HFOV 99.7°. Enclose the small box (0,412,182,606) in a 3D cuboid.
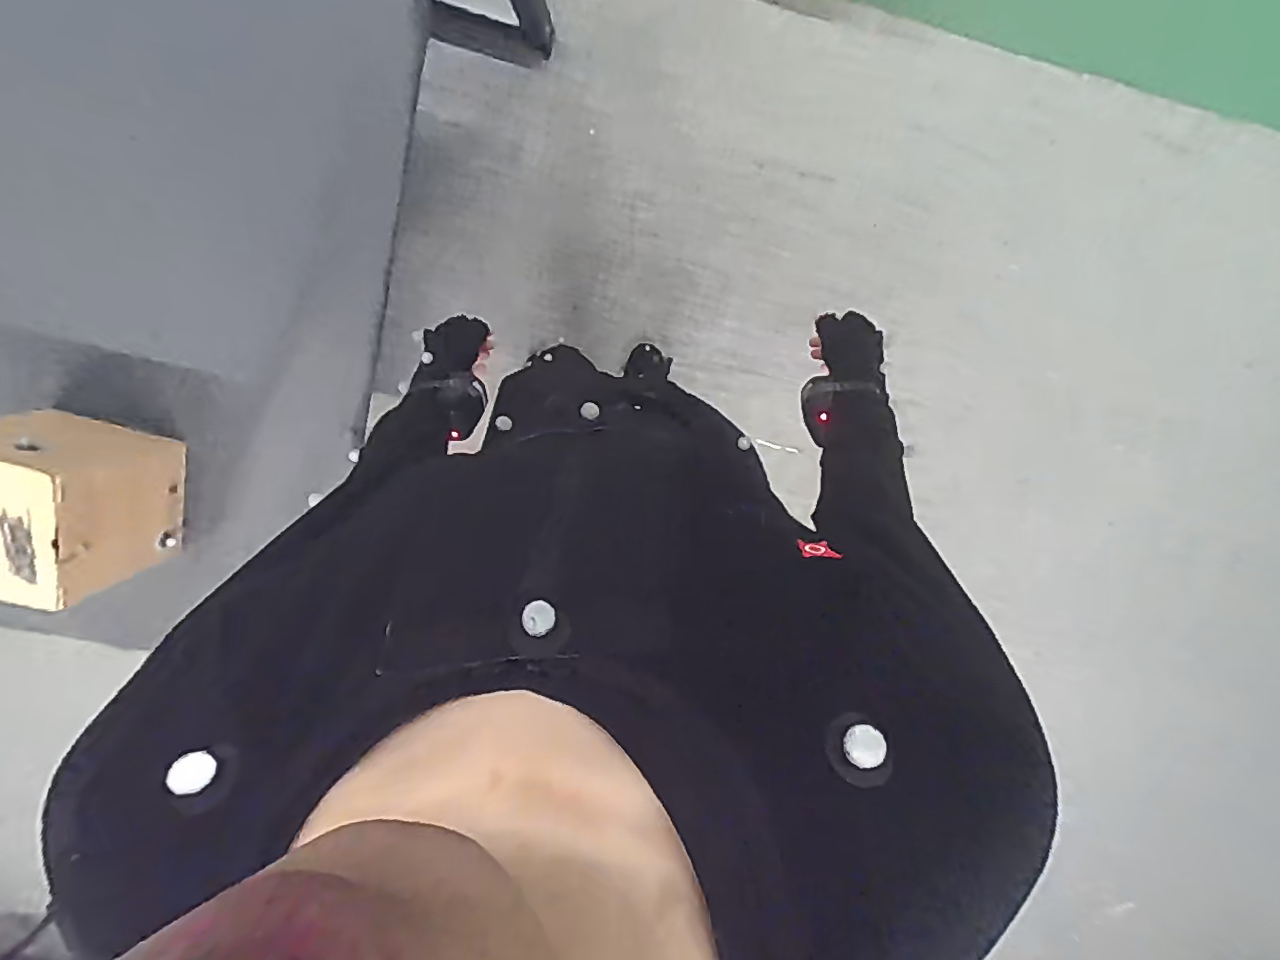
[{"bbox_3d":[-0.704,0.023,0.652,0.179,0.176,0.168,15,105,-3],"label":"small box"}]
